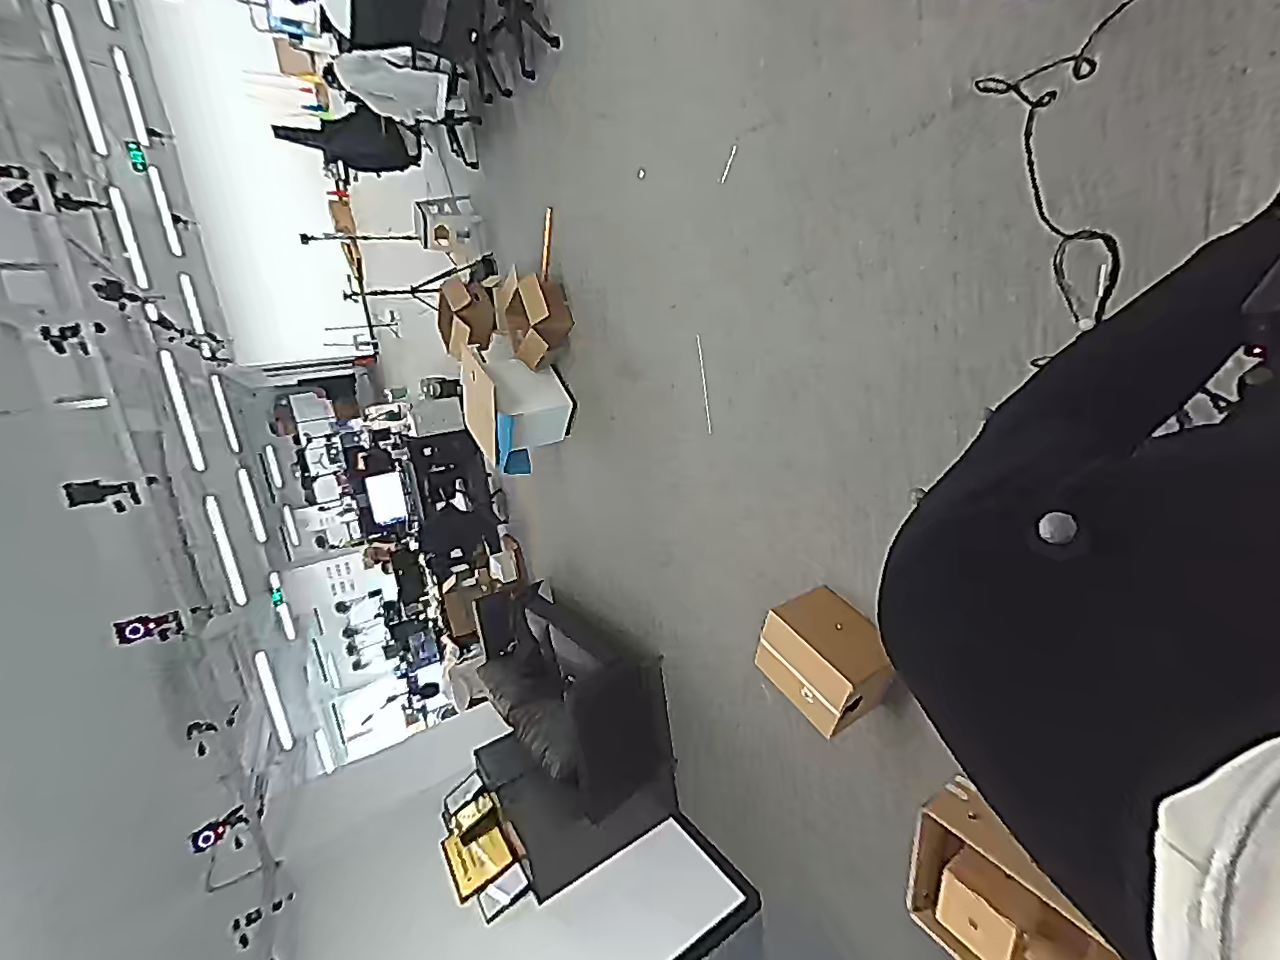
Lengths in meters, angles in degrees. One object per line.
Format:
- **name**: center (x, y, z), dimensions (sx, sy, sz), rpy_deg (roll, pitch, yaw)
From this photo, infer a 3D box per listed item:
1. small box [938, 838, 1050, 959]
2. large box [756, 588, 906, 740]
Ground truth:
- **small box**: center (0.863, 1.036, 1.319), dimensions (0.168, 0.176, 0.179), rpy_deg (23, 121, 54)
- **large box**: center (0.725, 0.692, 2.096), dimensions (0.408, 0.320, 0.320), rpy_deg (40, 136, 43)
